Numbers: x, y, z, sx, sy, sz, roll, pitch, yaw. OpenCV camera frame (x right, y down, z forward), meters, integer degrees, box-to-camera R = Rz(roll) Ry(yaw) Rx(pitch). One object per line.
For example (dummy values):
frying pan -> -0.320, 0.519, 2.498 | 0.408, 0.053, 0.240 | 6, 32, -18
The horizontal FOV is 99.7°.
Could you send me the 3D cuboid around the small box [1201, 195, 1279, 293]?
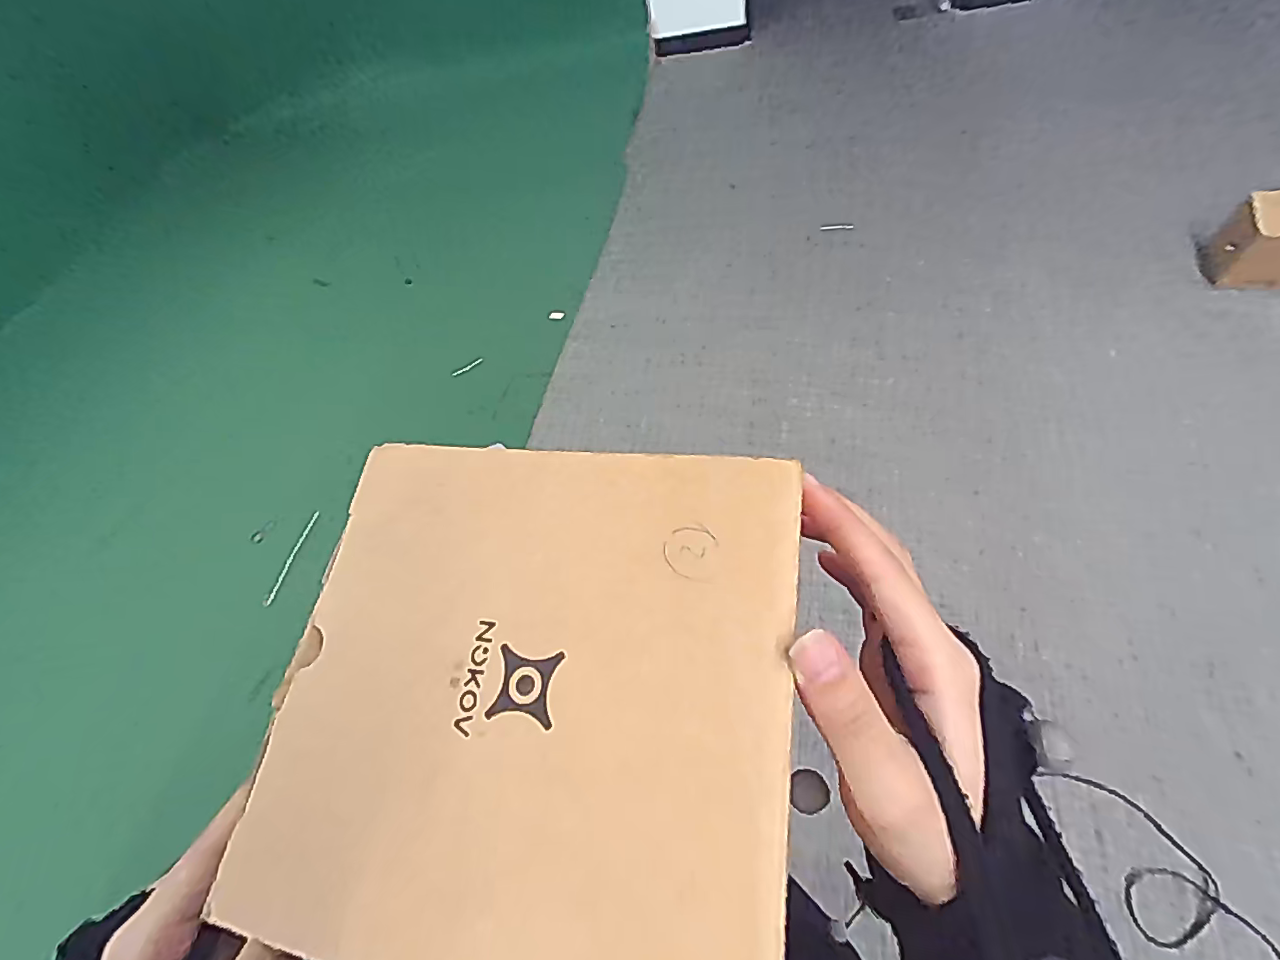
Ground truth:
small box -> 1.637, -0.616, 1.417 | 0.168, 0.176, 0.179 | 11, 63, 18
